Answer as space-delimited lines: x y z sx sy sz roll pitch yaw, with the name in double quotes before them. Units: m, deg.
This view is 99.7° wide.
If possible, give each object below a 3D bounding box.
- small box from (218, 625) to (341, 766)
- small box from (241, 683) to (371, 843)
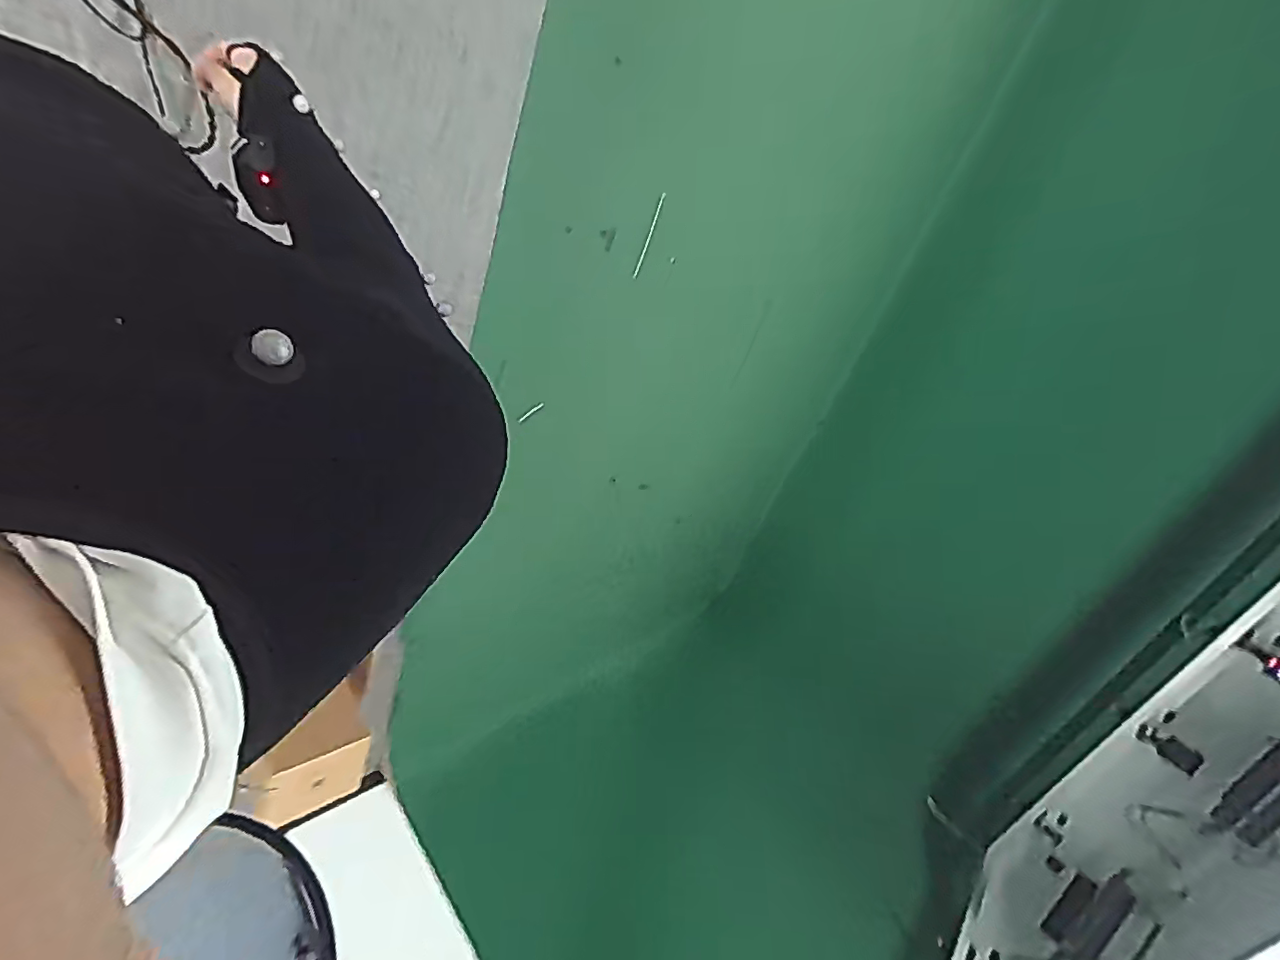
"small box" -0.743 0.432 1.108 0.168 0.176 0.179 -6 128 -49
"small box" -0.638 0.526 1.026 0.168 0.176 0.179 -6 127 -48
